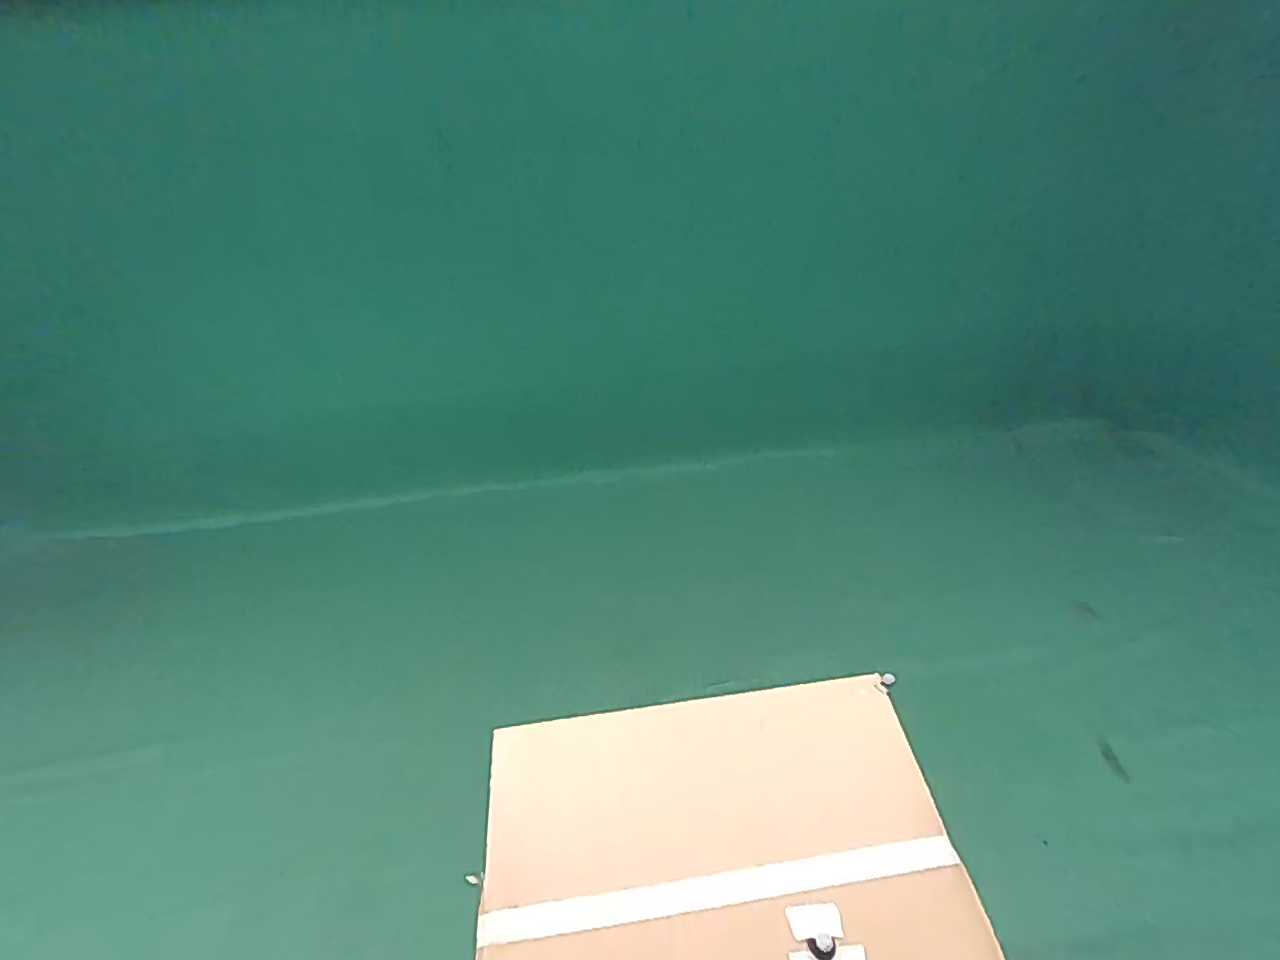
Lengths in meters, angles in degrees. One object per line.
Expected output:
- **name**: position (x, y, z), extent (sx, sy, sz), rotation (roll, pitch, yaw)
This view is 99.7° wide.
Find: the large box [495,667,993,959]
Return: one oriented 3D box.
- **large box**: position (0.076, 0.438, 0.583), extent (0.408, 0.320, 0.320), rotation (-7, 50, -4)
